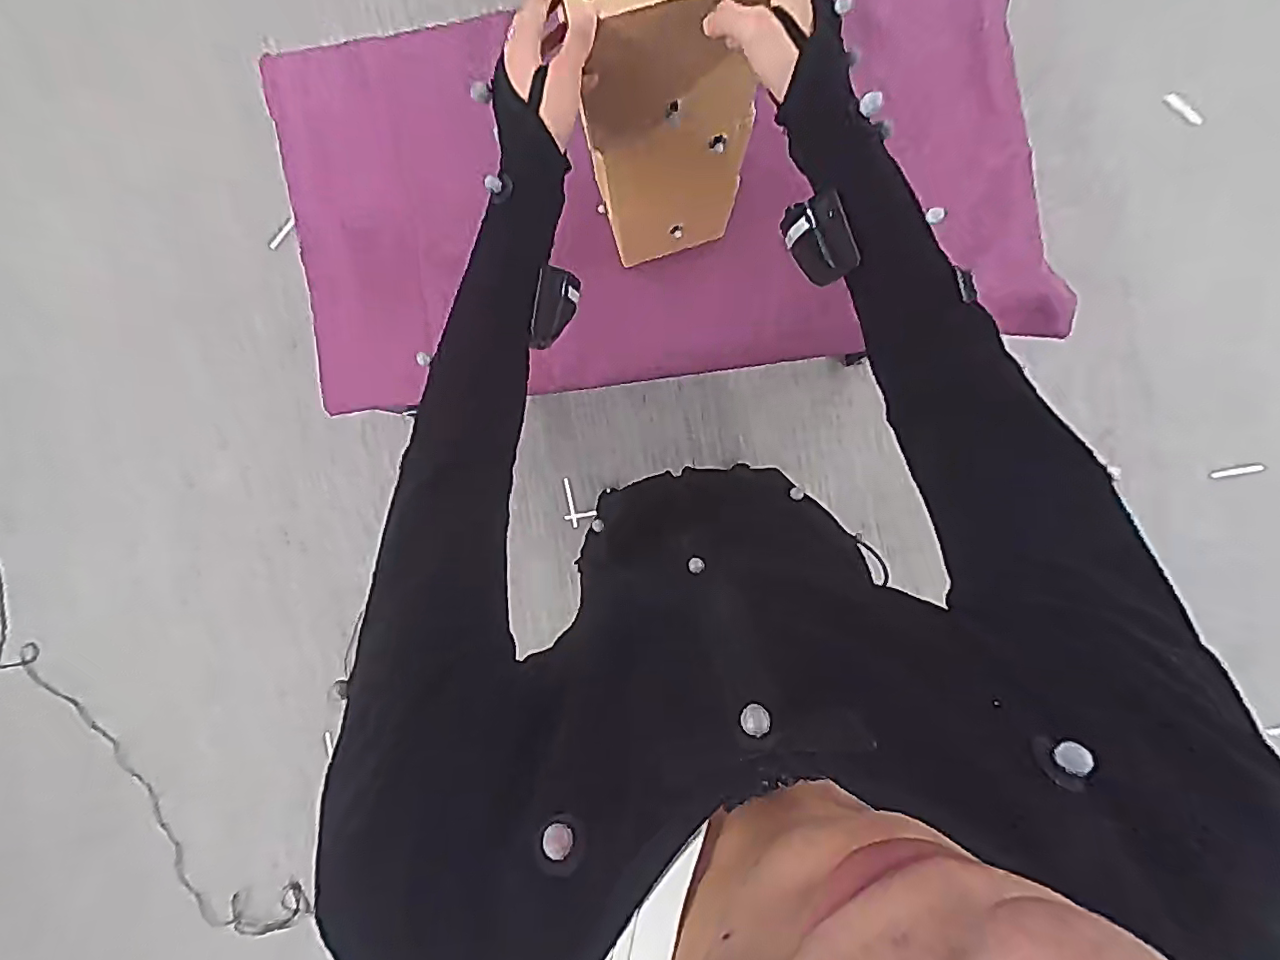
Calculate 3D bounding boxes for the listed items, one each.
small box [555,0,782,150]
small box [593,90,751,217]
[{"bbox_3d":[0.013,-0.445,0.499,0.179,0.176,0.168,-13,90,0],"label":"small box"},{"bbox_3d":[0.022,-0.451,0.663,0.179,0.176,0.168,-13,90,0],"label":"small box"}]
